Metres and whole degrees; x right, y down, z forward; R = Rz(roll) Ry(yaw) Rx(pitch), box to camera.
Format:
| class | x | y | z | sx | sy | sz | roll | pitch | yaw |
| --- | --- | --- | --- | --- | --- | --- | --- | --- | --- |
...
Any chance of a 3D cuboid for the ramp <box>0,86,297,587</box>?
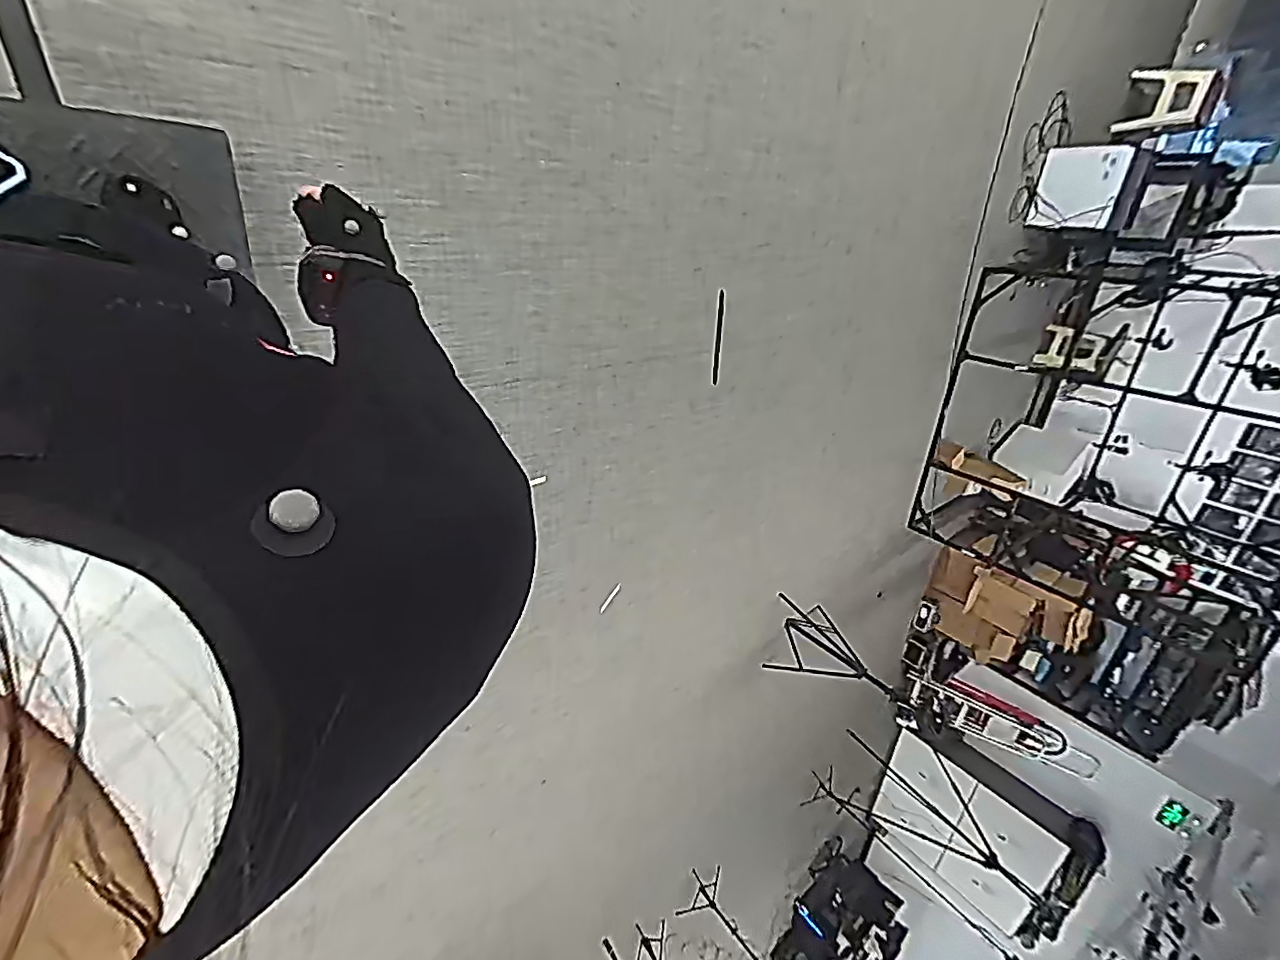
| class | x | y | z | sx | sy | sz | roll | pitch | yaw |
| --- | --- | --- | --- | --- | --- | --- | --- | --- | --- |
| ramp | -1.064 | -0.212 | 1.123 | 0.509 | 0.206 | 0.991 | -18 | 124 | -36 |
